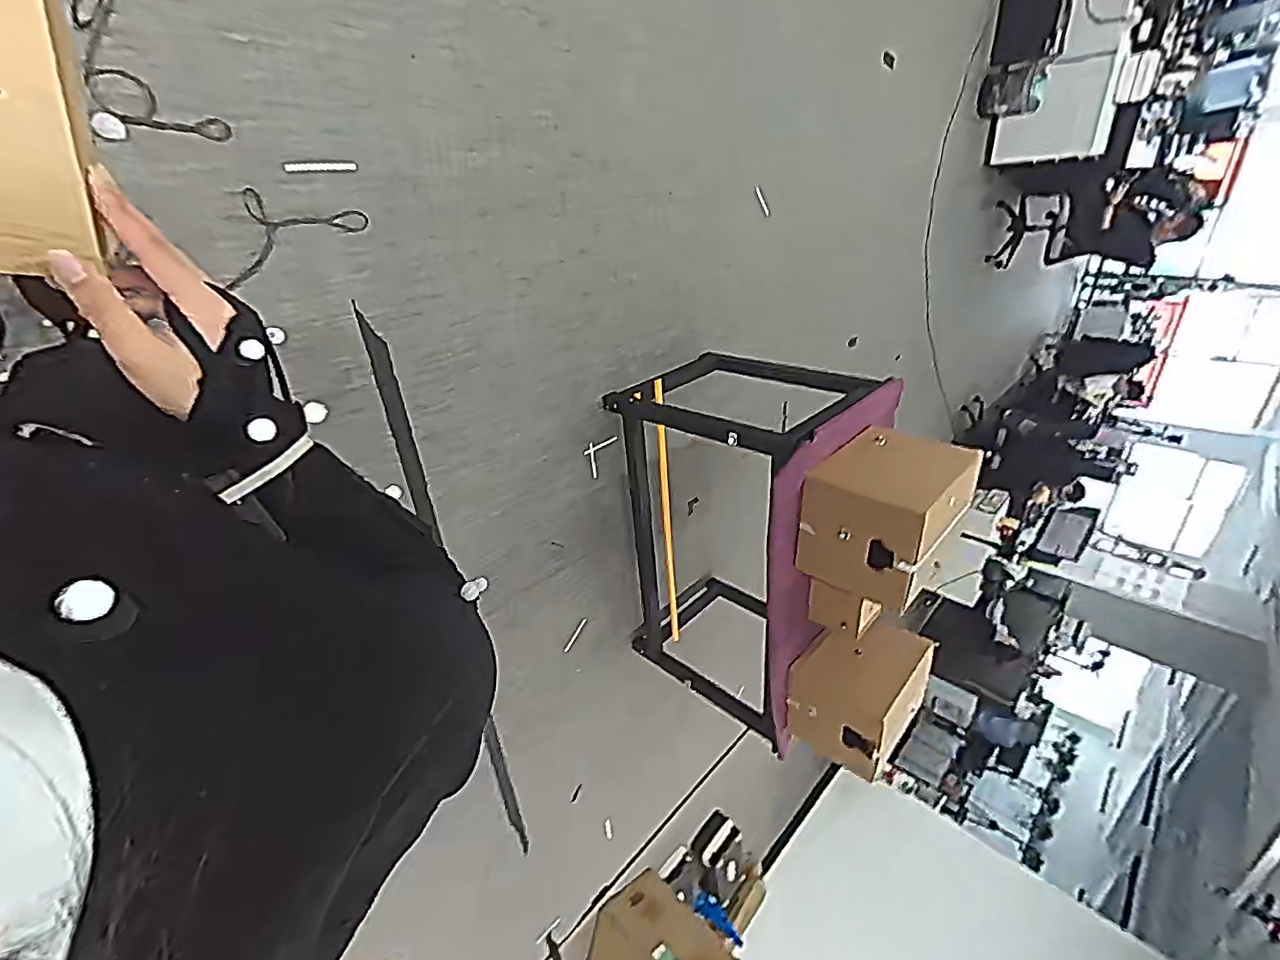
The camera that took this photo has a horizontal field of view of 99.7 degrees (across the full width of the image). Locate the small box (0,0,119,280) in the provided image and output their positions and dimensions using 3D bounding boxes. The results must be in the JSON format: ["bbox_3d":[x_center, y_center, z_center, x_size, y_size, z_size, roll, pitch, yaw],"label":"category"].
[{"bbox_3d":[-0.379,-0.201,0.253,0.179,0.176,0.168,-10,121,-40],"label":"small box"}]

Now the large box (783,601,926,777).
[{"bbox_3d":[0.726,0.690,1.846,0.408,0.320,0.320,-31,127,-38],"label":"large box"}]
